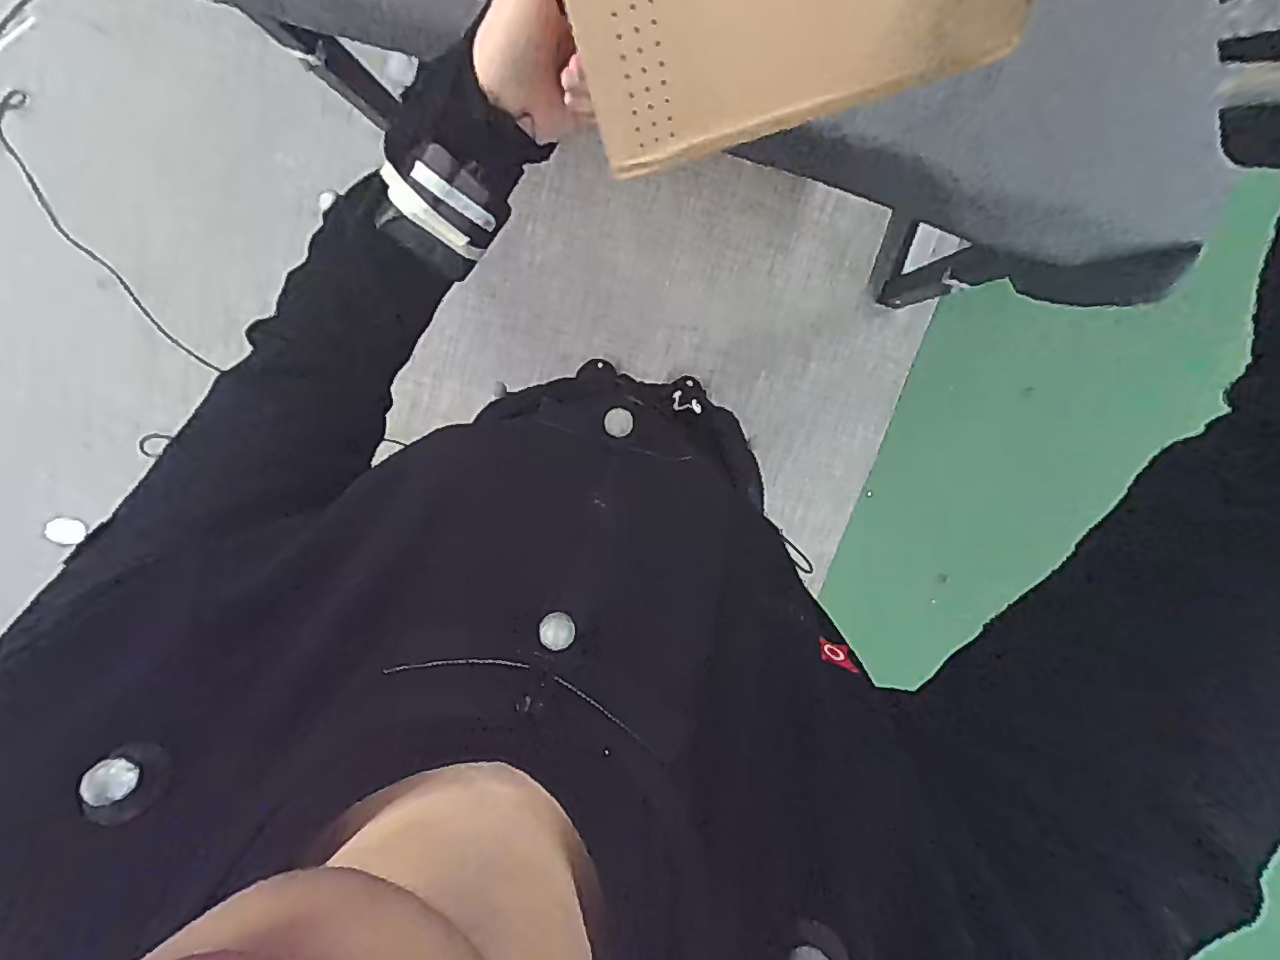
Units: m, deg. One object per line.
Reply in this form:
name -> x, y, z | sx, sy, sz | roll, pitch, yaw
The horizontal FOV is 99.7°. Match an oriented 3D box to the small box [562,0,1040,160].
small box -> 0.036, -0.253, 0.179 | 0.176, 0.179, 0.168 | -15, 65, 6
